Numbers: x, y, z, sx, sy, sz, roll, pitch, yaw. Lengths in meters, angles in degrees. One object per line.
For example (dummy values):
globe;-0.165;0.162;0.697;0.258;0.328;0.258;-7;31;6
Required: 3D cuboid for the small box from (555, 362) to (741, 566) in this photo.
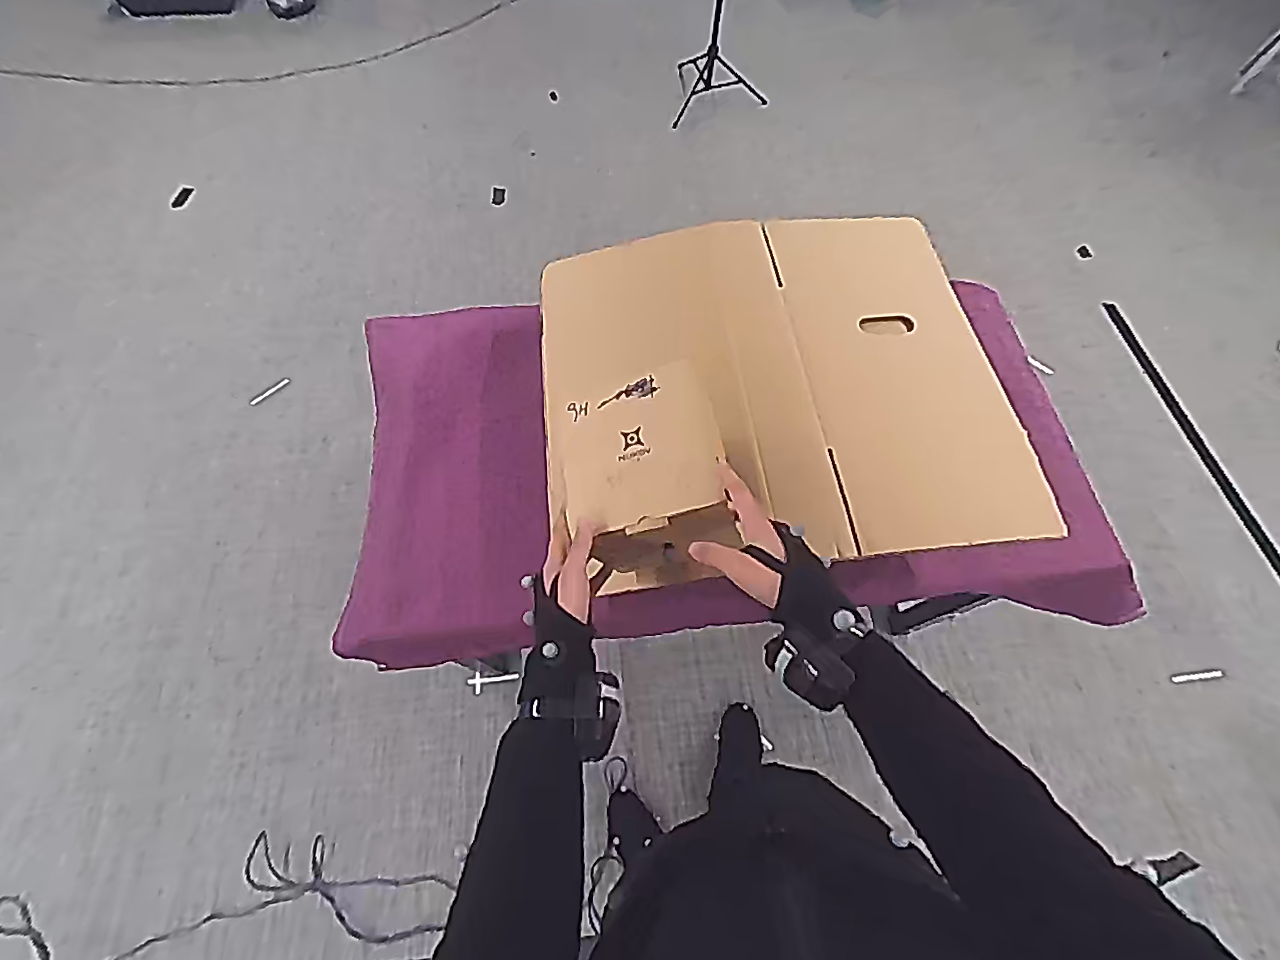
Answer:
small box;0.016;-0.004;0.635;0.168;0.176;0.179;-14;67;12
